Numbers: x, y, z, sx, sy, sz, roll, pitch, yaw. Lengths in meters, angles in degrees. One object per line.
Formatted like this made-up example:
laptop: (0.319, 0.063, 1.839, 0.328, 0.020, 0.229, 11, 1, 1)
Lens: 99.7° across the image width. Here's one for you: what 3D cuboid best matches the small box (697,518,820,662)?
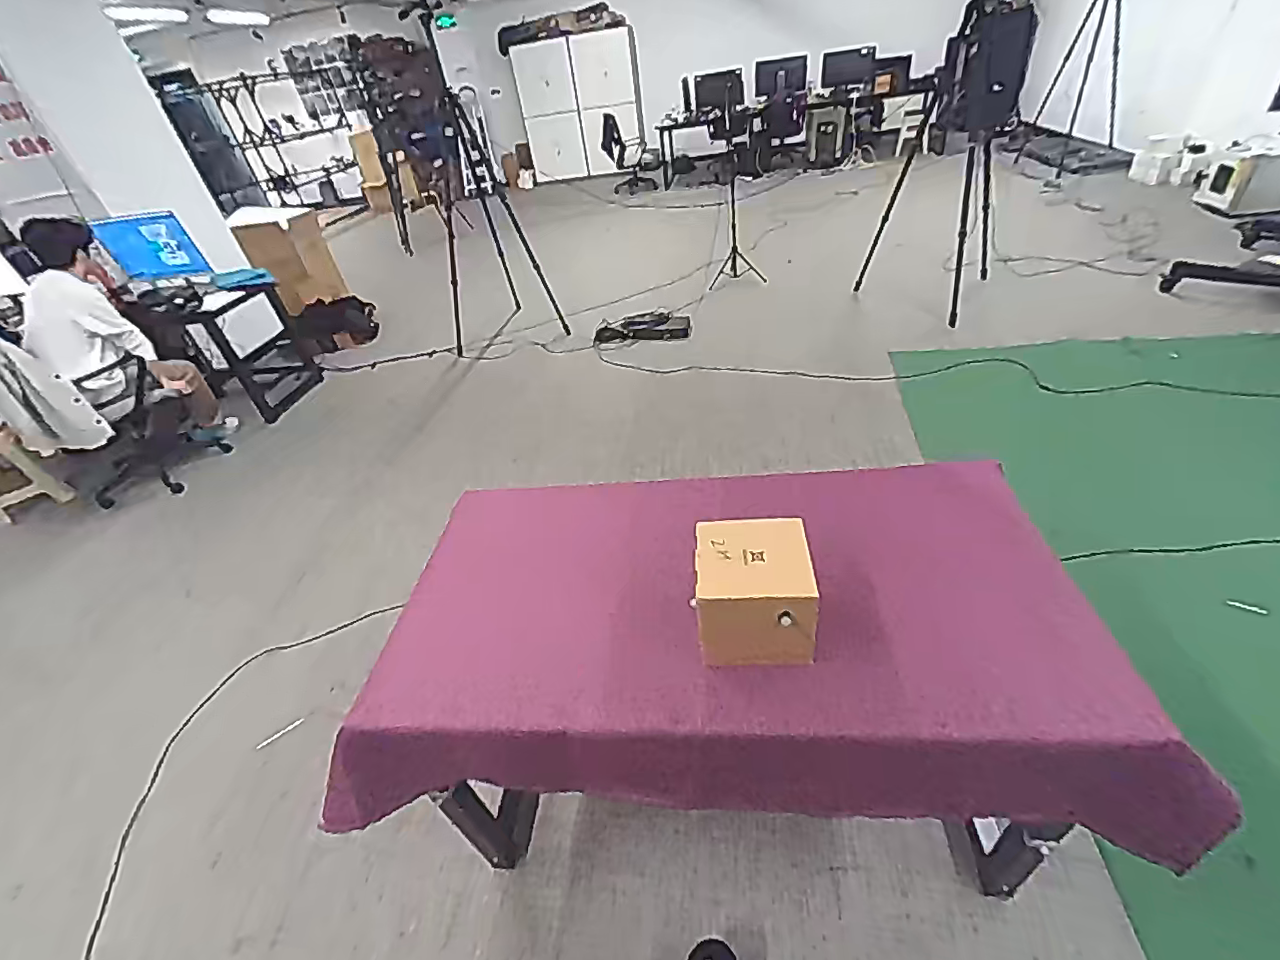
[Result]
small box: (0.186, 0.181, 0.882, 0.179, 0.176, 0.168, -4, 38, 9)
